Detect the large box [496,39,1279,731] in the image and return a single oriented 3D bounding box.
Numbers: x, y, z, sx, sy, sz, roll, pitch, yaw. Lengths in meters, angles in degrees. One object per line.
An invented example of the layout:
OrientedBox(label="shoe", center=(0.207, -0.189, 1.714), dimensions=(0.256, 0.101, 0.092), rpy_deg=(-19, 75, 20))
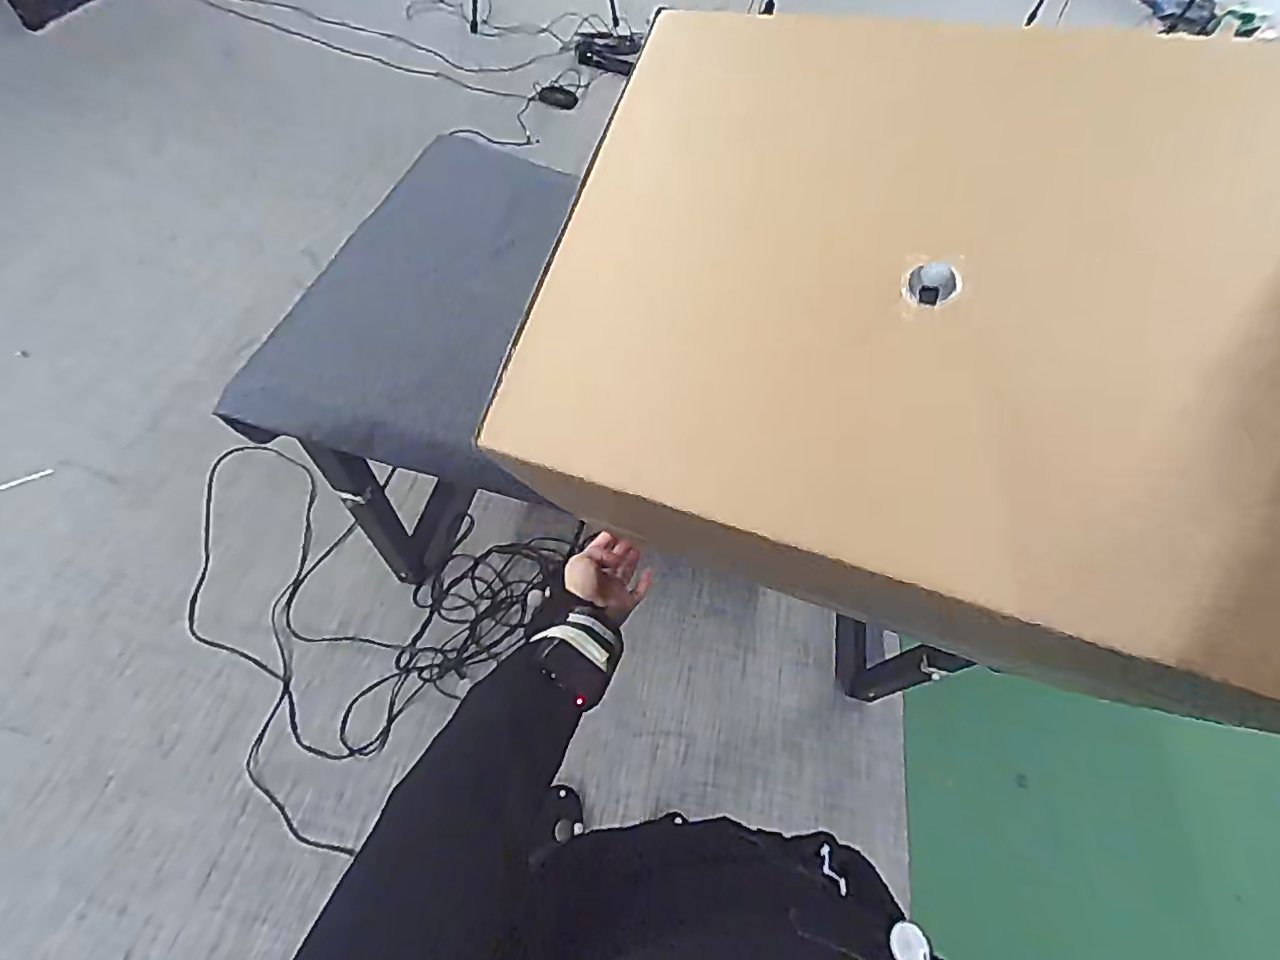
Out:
OrientedBox(label="large box", center=(0.174, -0.055, 0.418), dimensions=(0.408, 0.320, 0.320), rpy_deg=(16, 79, 15))
